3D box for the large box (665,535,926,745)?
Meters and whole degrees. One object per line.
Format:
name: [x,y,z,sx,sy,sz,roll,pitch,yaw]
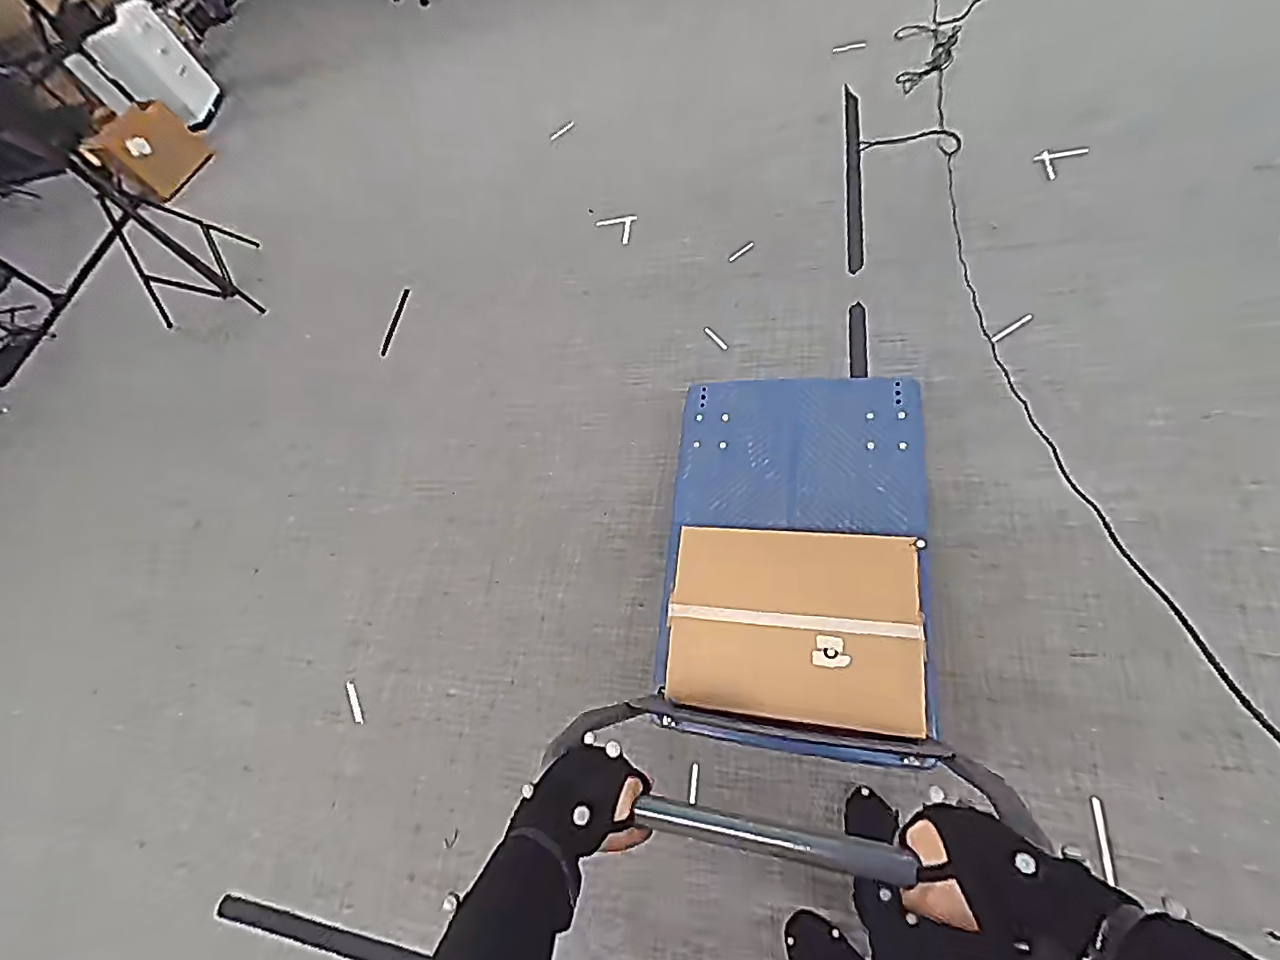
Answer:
large box: [0.282,0.304,1.033,0.408,0.320,0.320,1,69,16]
